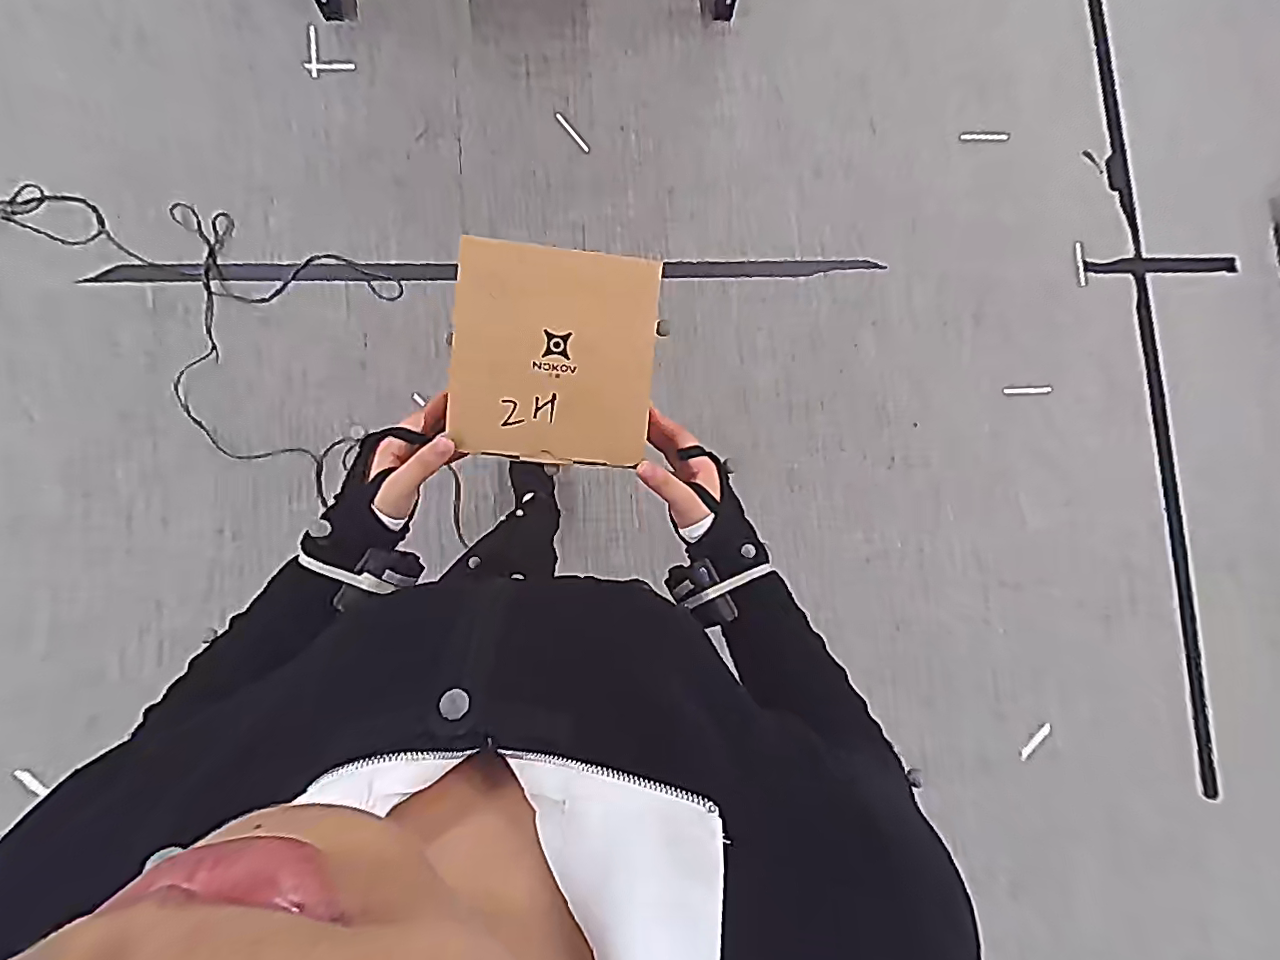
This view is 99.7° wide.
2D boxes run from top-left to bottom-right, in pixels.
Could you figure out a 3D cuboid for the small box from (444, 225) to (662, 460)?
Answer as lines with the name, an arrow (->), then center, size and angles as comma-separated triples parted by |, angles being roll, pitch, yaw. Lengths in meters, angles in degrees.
small box -> -0.079, -0.114, 0.523 | 0.168, 0.176, 0.179 | 5, 91, -6
